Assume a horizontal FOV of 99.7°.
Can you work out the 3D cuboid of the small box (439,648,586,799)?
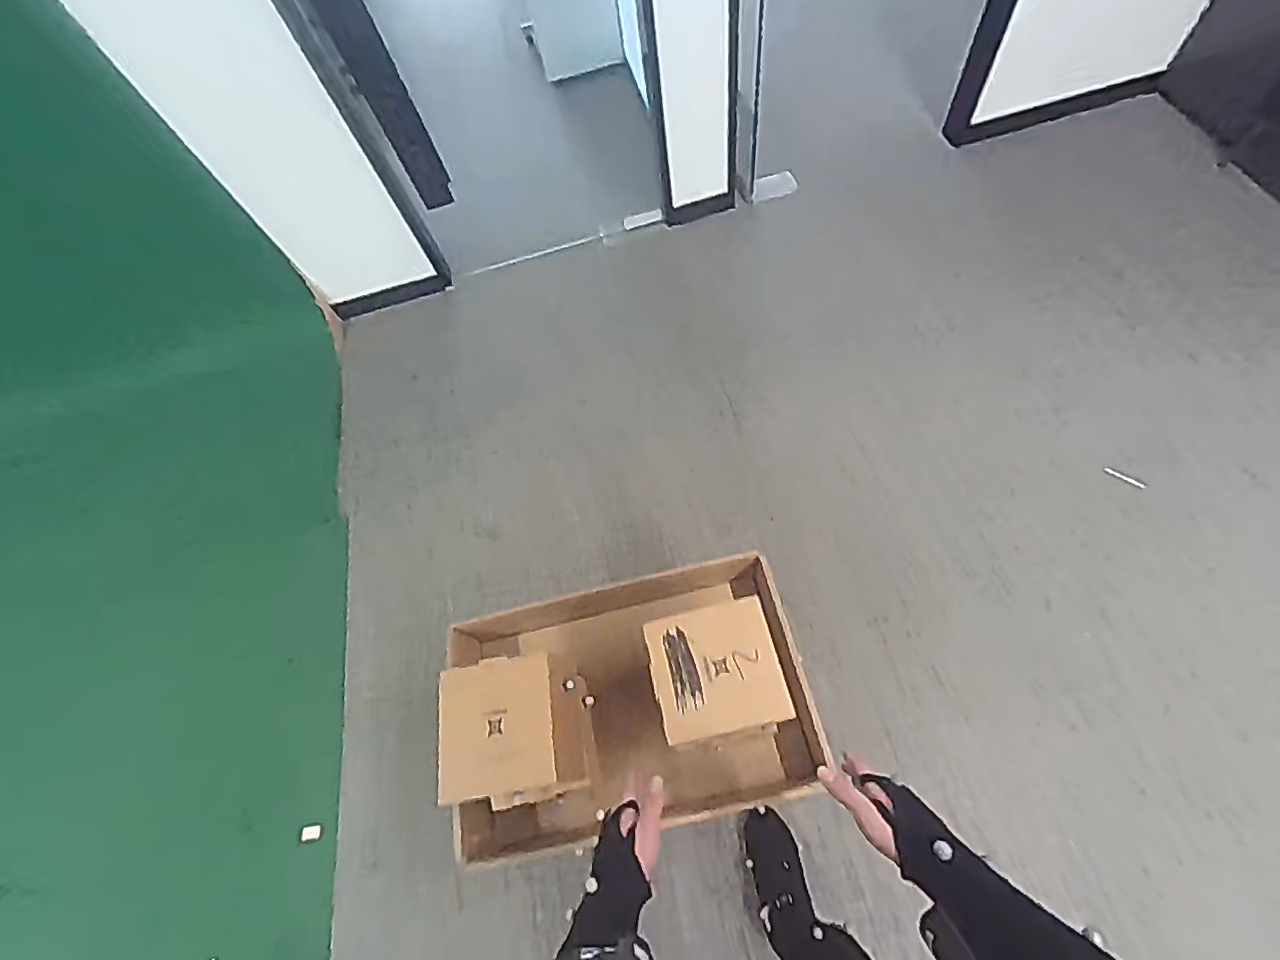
[{"bbox_3d":[-0.186,0.370,0.820,0.168,0.176,0.179,-12,62,4],"label":"small box"}]
